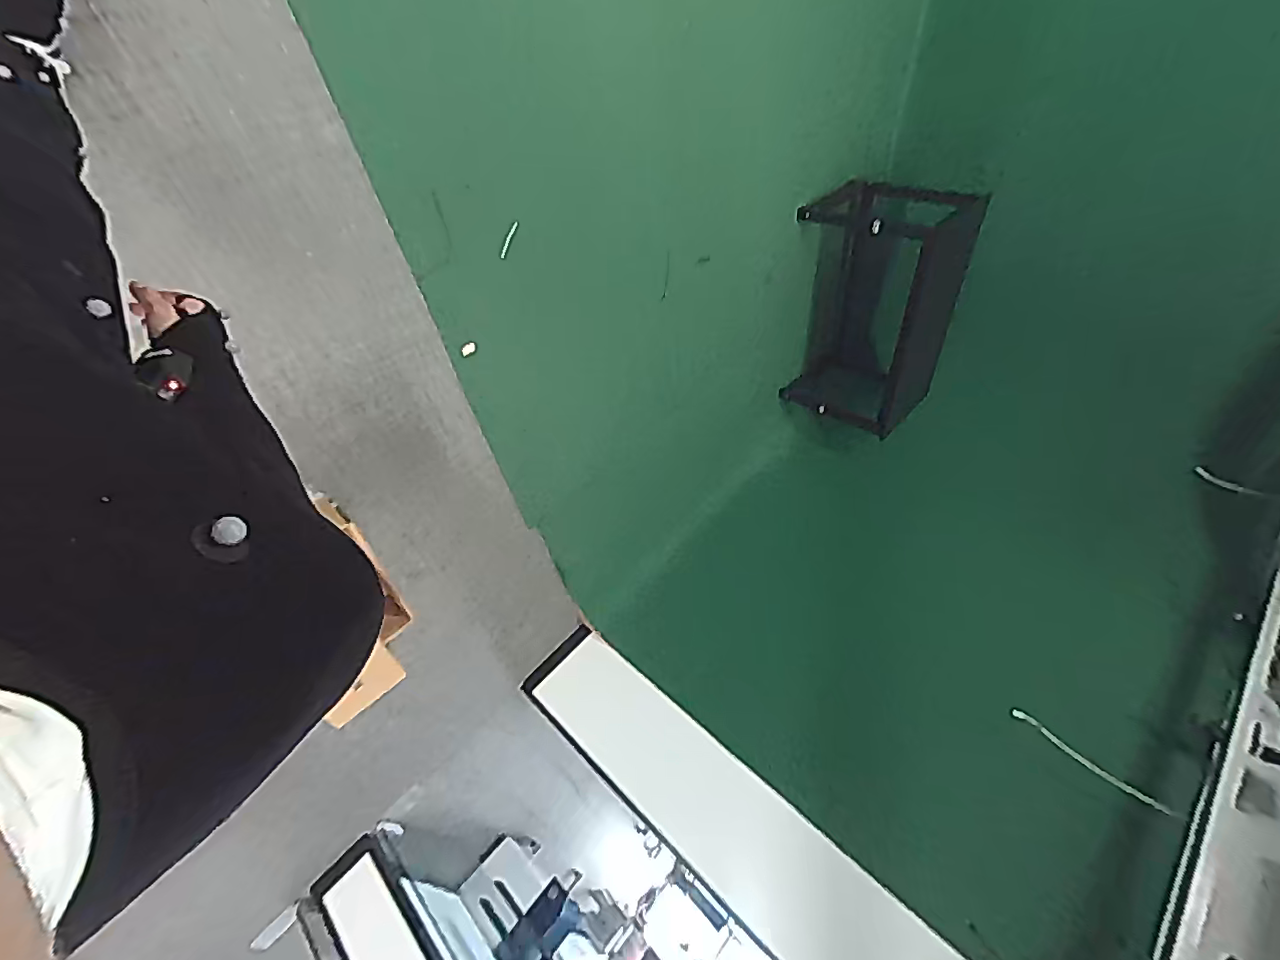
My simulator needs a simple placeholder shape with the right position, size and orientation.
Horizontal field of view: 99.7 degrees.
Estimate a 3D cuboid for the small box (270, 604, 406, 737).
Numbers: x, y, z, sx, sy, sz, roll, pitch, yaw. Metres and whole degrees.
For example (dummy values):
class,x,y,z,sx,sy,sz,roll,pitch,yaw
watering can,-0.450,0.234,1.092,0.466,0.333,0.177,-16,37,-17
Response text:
class,x,y,z,sx,sy,sz,roll,pitch,yaw
small box,-0.641,0.399,1.153,0.168,0.176,0.179,-38,141,-29
